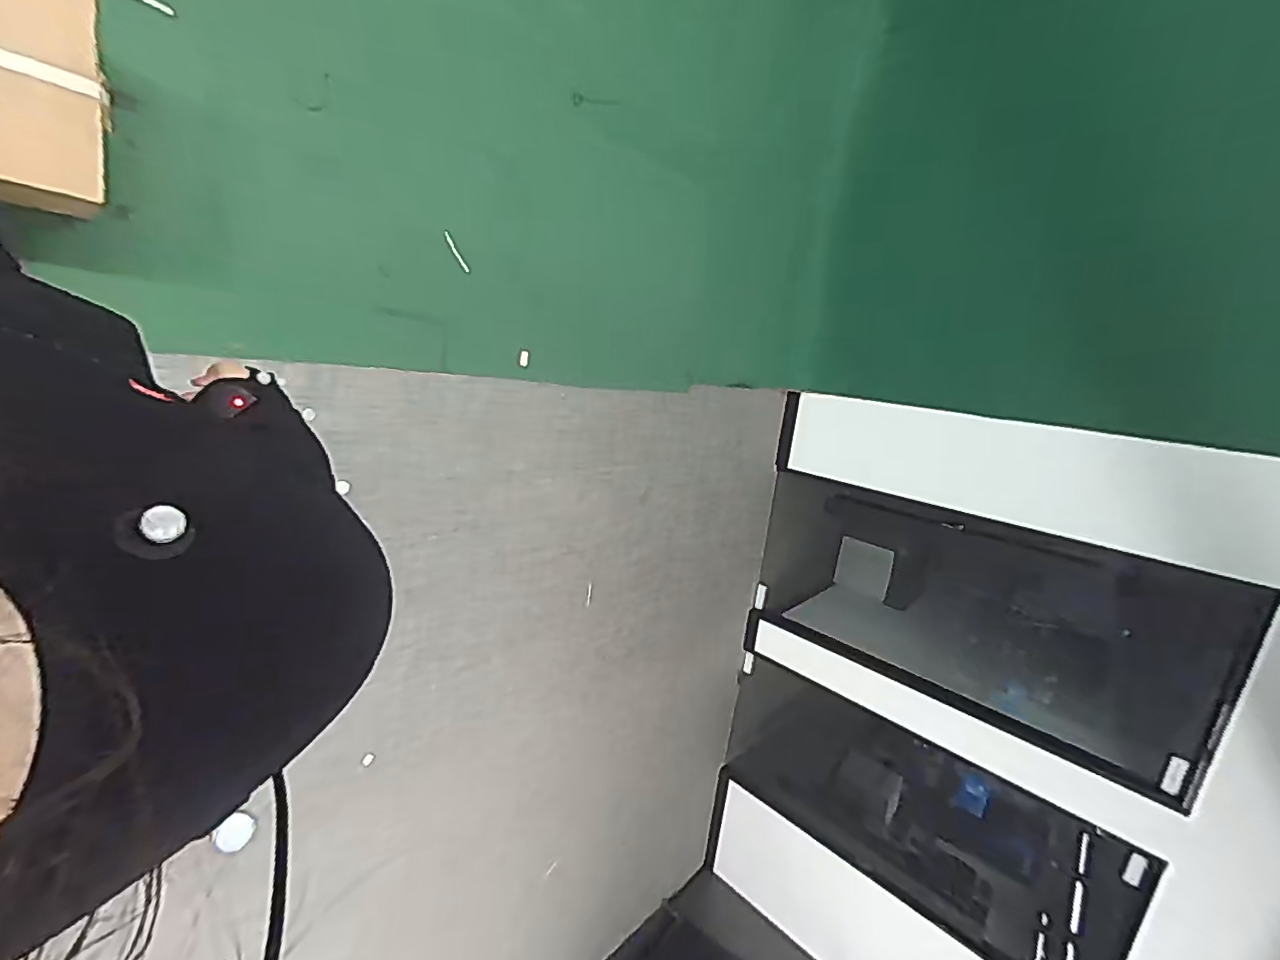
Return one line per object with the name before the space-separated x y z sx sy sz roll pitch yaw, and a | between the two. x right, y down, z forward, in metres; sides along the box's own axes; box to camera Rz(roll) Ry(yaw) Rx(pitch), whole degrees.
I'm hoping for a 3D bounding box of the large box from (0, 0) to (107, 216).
large box | -1.036 -0.592 0.741 0.408 0.320 0.320 -5 107 -48
